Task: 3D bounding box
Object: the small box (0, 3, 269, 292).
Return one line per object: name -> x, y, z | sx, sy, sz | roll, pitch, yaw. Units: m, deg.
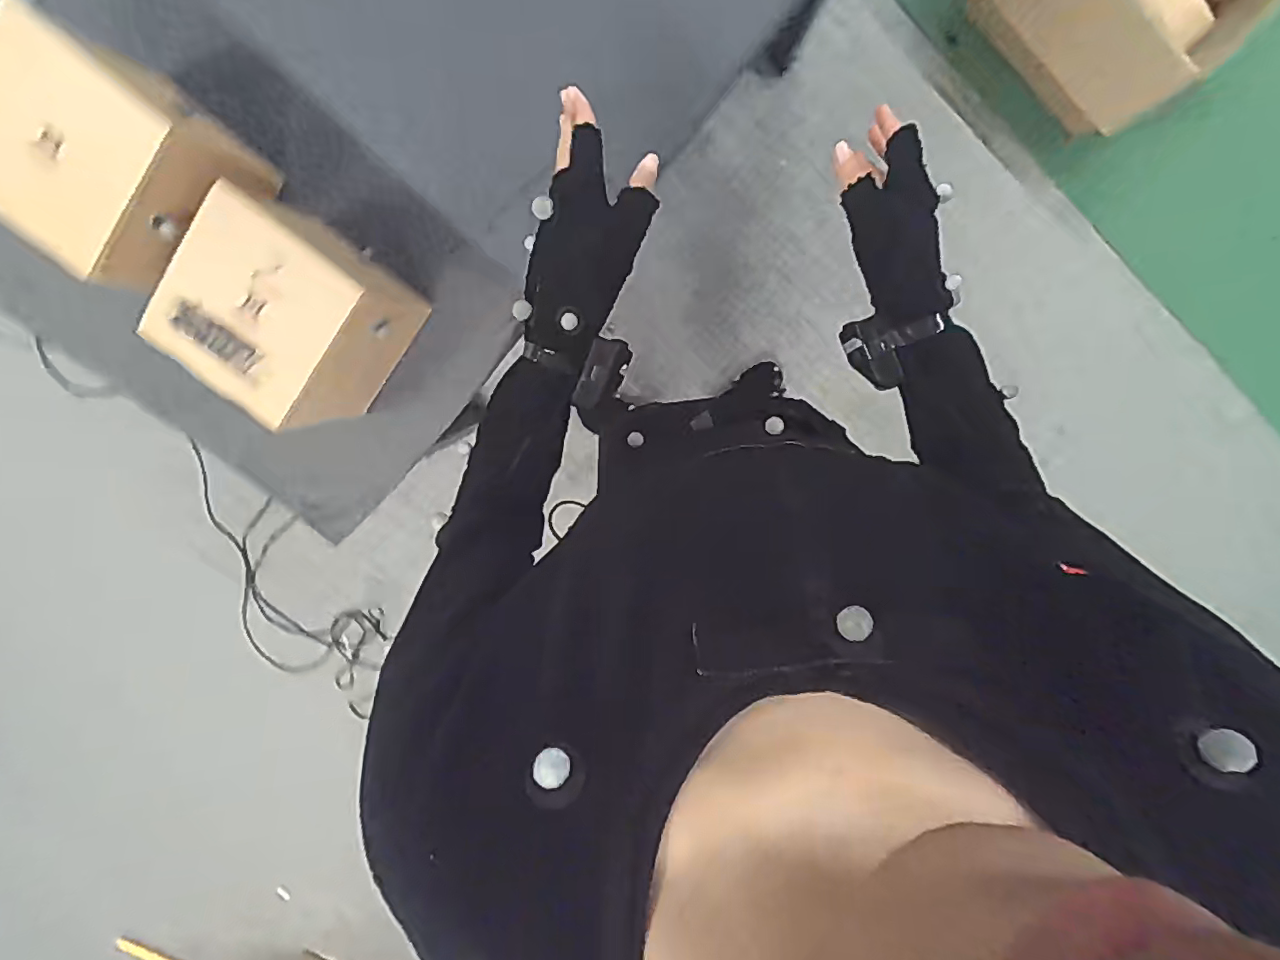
small box -> -0.549, -0.326, 0.579 | 0.168, 0.176, 0.179 | 39, 102, -8
